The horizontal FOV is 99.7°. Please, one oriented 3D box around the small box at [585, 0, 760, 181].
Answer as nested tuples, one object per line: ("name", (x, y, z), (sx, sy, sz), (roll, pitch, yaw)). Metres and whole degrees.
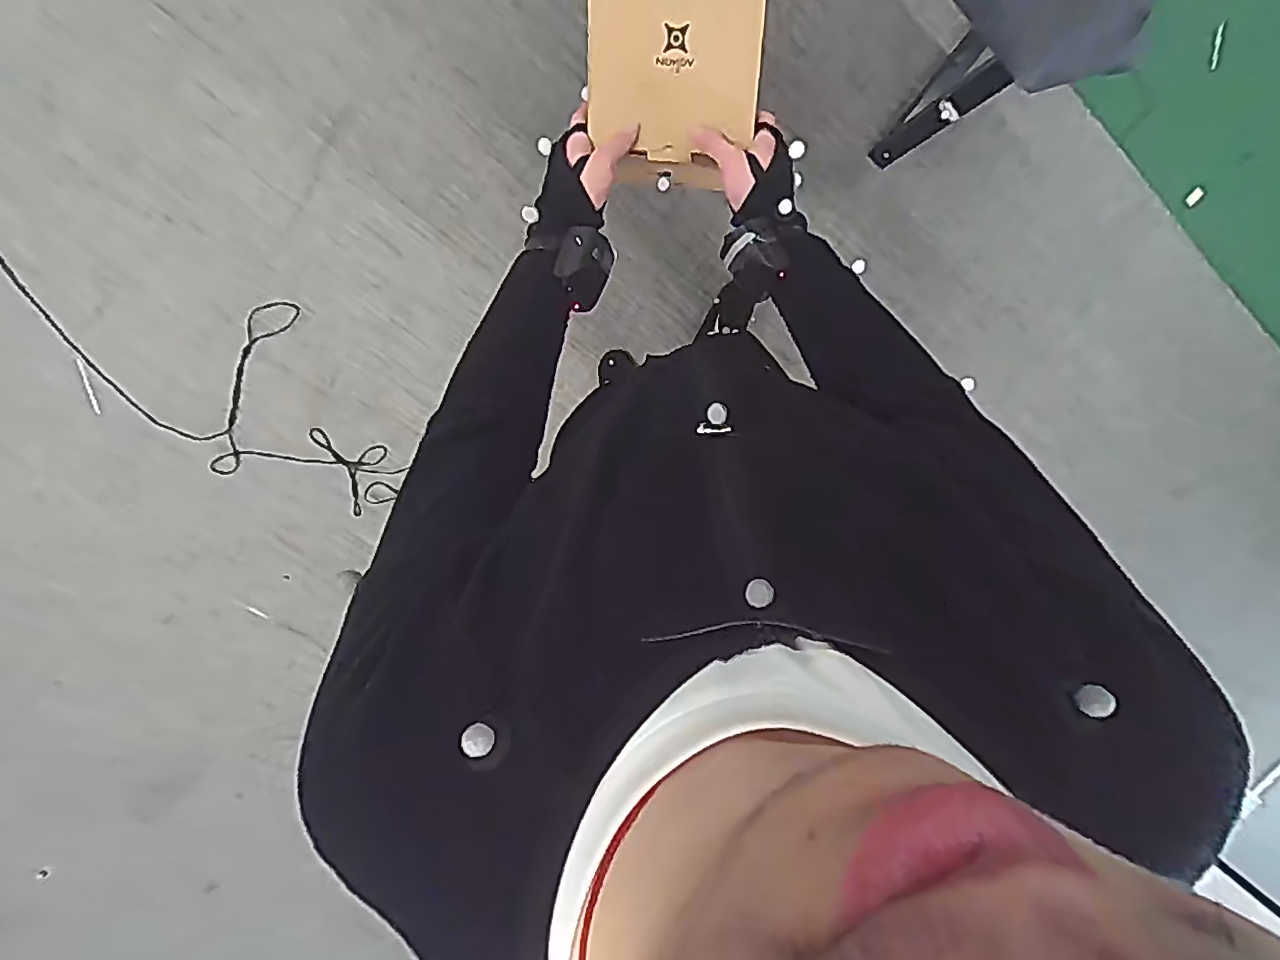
("small box", (0.032, -0.437, 0.591), (0.168, 0.176, 0.179), (0, 108, 0))
